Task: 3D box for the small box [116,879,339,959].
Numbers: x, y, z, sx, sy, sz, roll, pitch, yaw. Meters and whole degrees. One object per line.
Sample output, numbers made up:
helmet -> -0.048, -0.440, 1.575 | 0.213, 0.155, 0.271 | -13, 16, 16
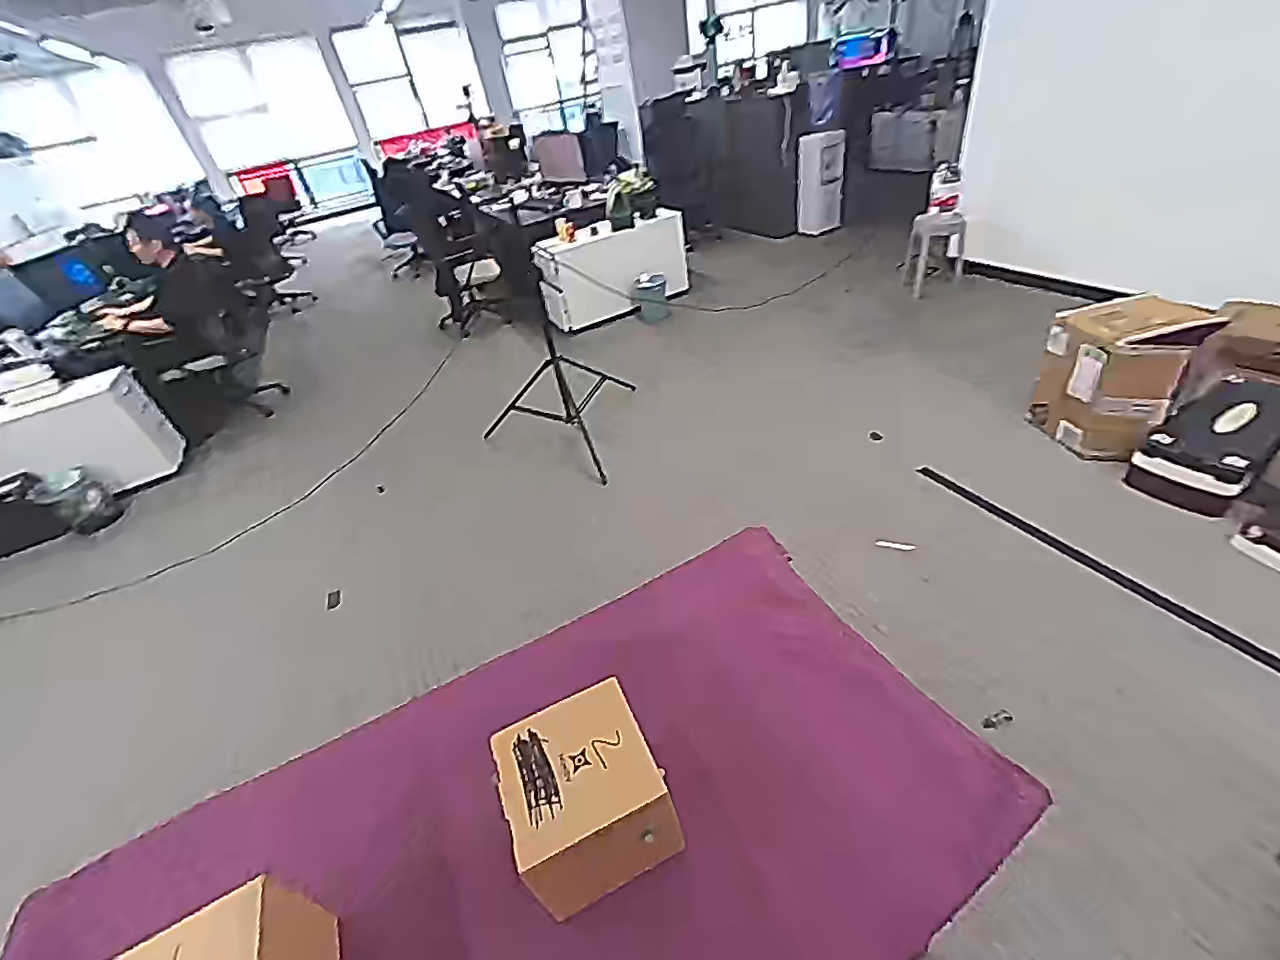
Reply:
small box -> -0.430, 0.570, 0.555 | 0.168, 0.176, 0.179 | -24, 39, -17
